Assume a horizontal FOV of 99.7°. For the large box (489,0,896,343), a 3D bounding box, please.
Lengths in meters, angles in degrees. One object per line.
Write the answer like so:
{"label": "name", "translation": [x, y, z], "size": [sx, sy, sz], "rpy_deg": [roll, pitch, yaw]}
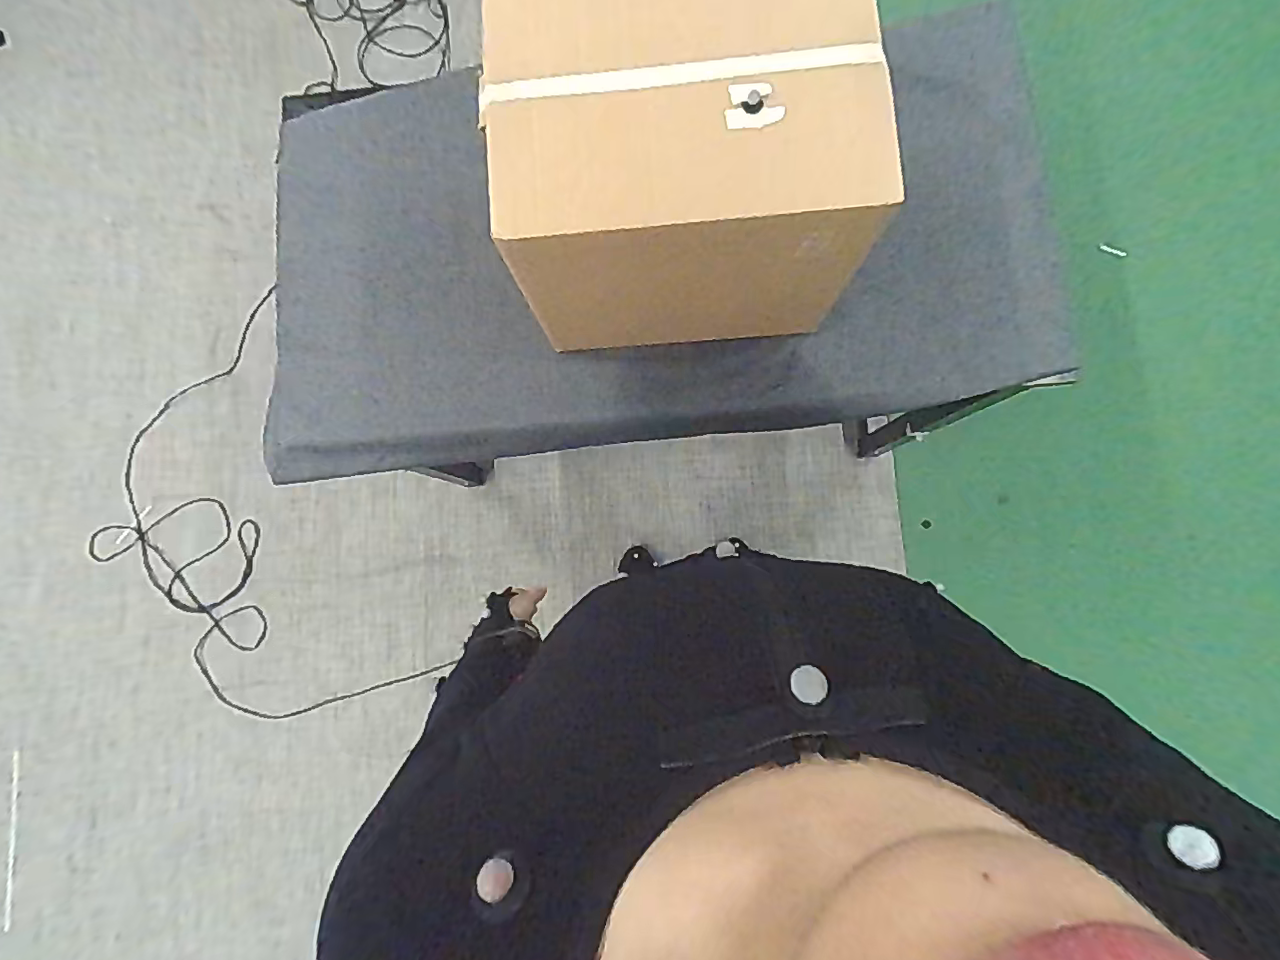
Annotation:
{"label": "large box", "translation": [0.049, -0.396, 0.705], "size": [0.408, 0.320, 0.320], "rpy_deg": [-4, 83, 2]}
